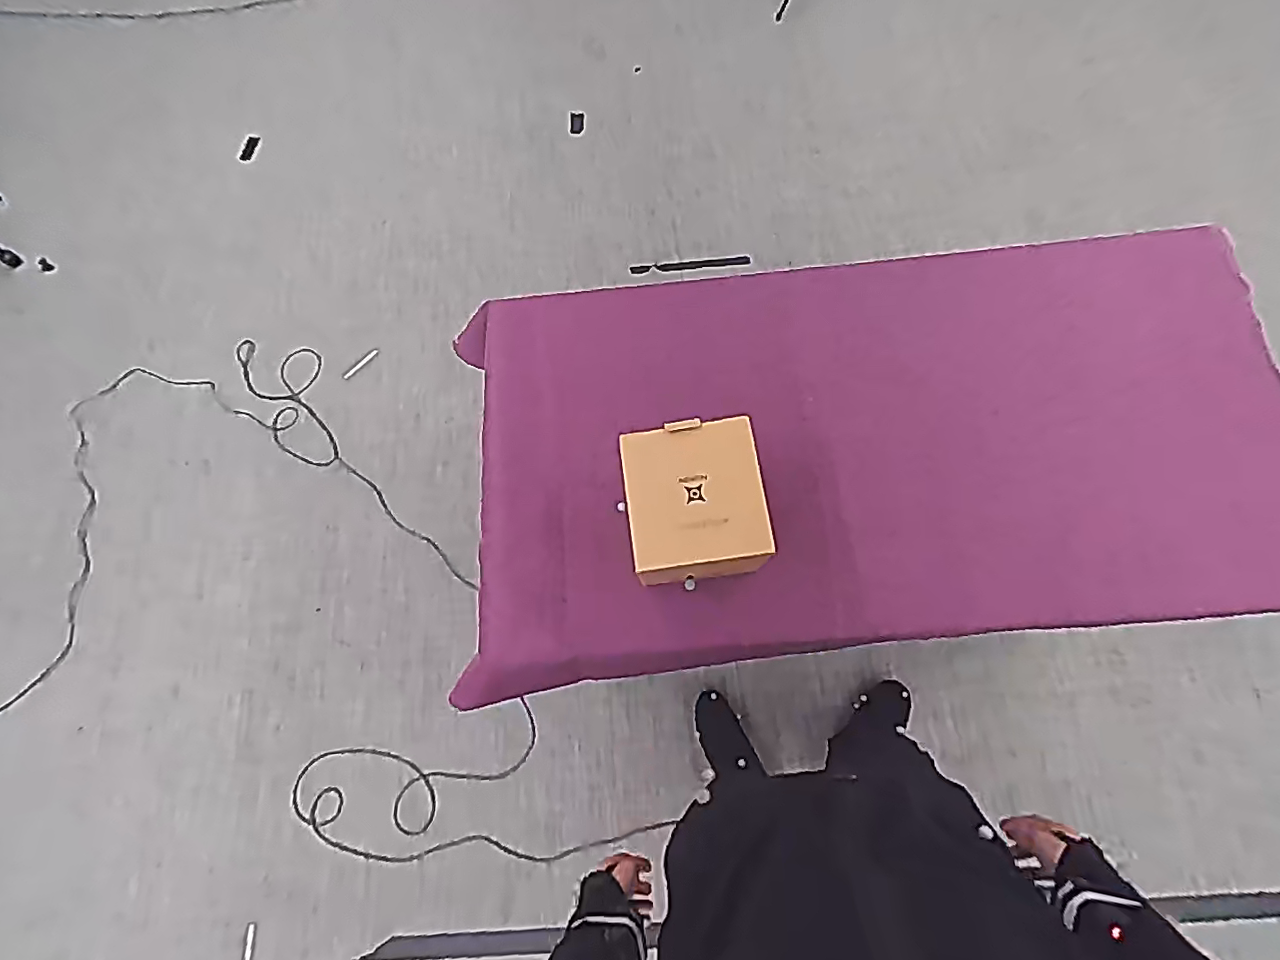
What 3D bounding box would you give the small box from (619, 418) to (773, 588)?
[{"bbox_3d":[0.068,0.039,0.718,0.168,0.176,0.179,-8,72,2],"label":"small box"}]
